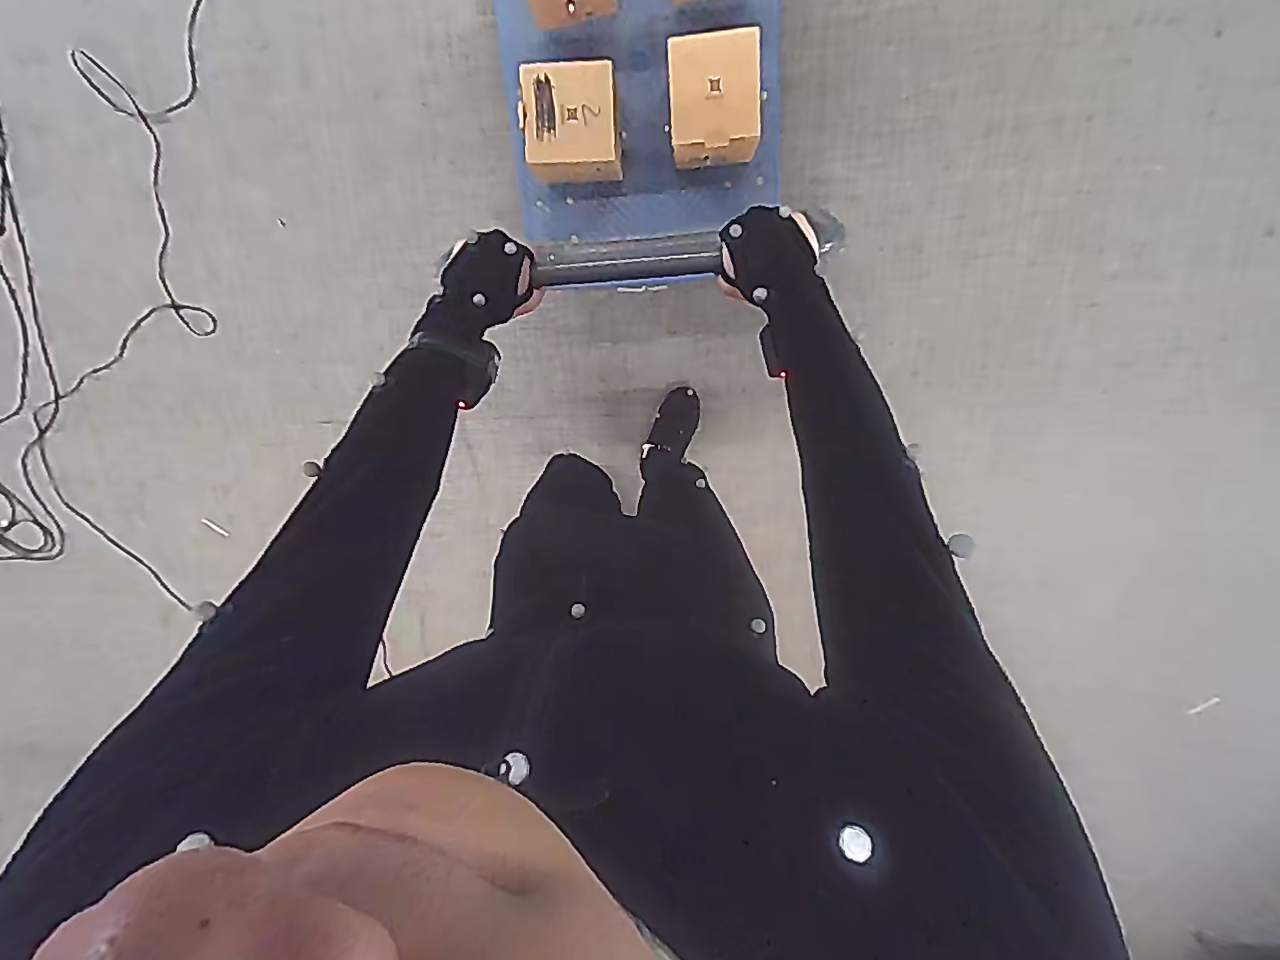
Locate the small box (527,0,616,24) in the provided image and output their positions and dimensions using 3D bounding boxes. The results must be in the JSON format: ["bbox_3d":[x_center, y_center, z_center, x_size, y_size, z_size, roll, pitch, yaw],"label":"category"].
[{"bbox_3d":[-0.144,-0.994,1.005,0.168,0.176,0.179,-9,107,6],"label":"small box"}]

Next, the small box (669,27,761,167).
[{"bbox_3d":[0.143,-0.743,1.066,0.168,0.176,0.179,-3,108,5],"label":"small box"}]
